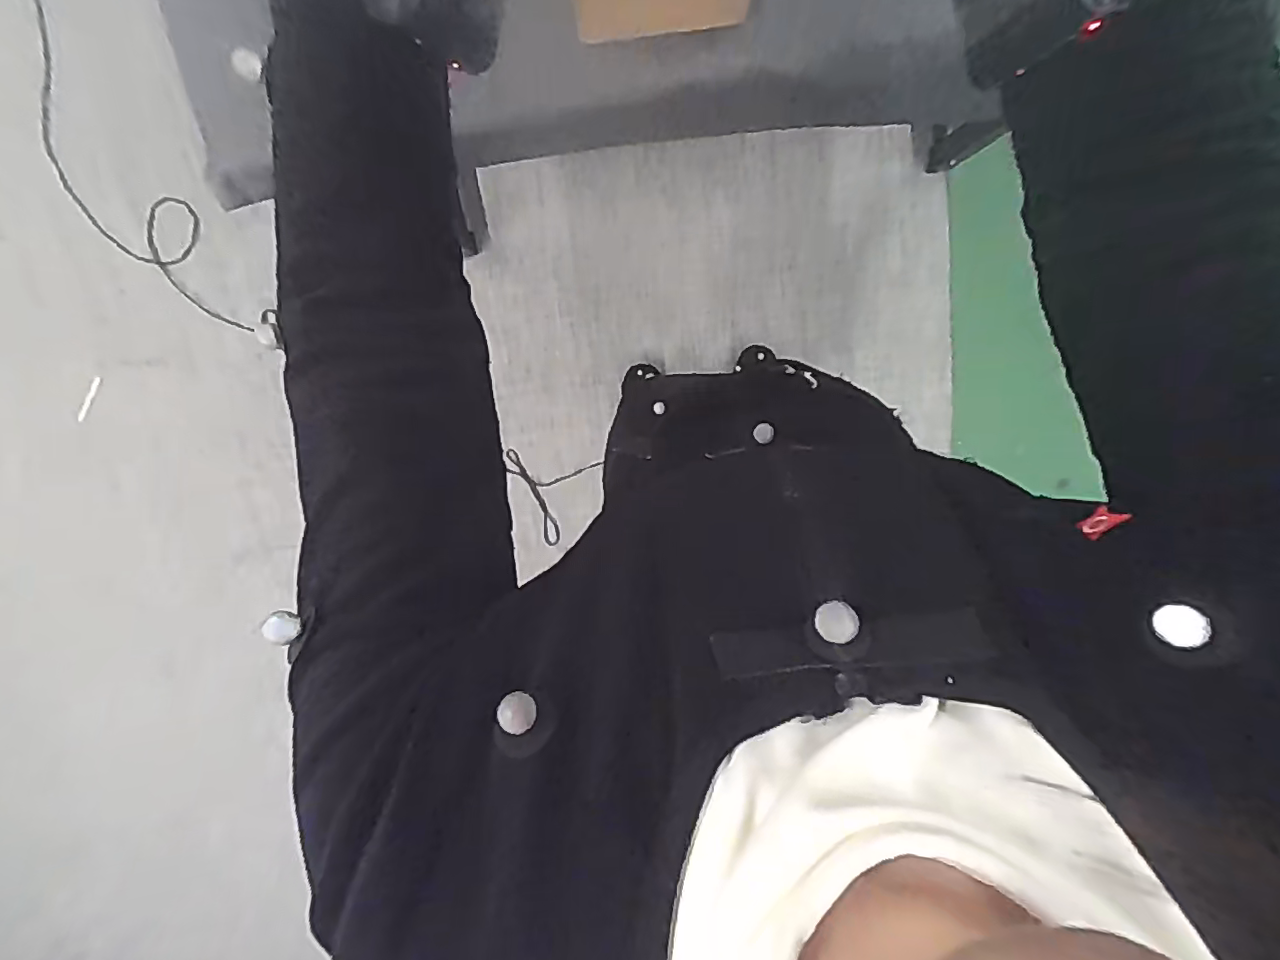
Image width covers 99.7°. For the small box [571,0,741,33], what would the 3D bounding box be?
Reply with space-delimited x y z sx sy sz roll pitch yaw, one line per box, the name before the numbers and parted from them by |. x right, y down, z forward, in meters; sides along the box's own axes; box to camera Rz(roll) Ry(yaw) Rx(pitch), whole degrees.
small box | 0.010 -0.539 0.478 0.179 0.176 0.168 -5 103 2
